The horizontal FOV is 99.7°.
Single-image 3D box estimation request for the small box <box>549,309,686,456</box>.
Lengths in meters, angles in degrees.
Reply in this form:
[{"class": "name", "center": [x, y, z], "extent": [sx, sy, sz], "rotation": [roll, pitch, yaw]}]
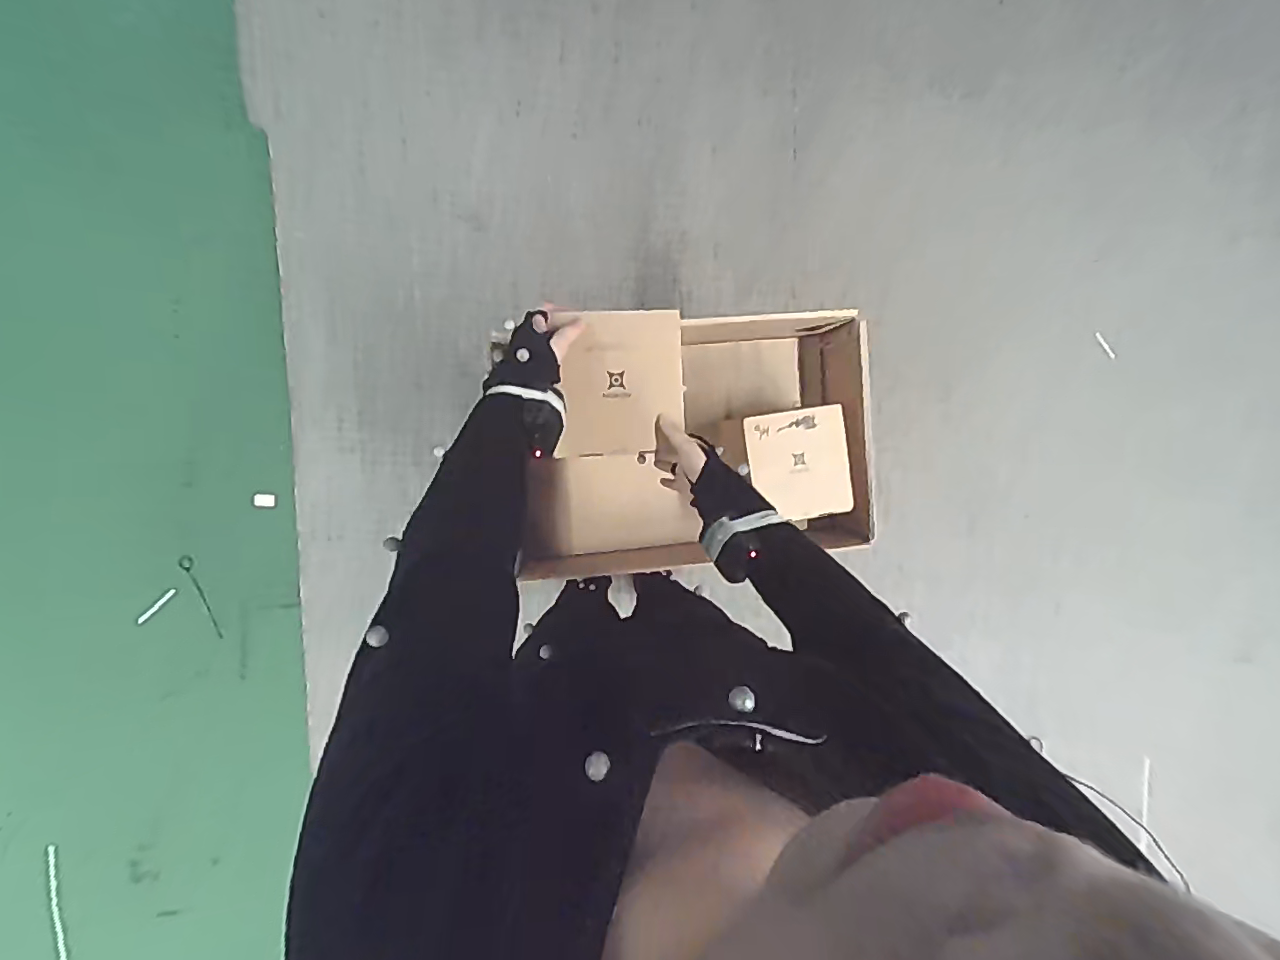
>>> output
[{"class": "small box", "center": [-0.034, -0.126, 0.736], "extent": [0.168, 0.176, 0.179], "rotation": [-3, 94, -8]}]
